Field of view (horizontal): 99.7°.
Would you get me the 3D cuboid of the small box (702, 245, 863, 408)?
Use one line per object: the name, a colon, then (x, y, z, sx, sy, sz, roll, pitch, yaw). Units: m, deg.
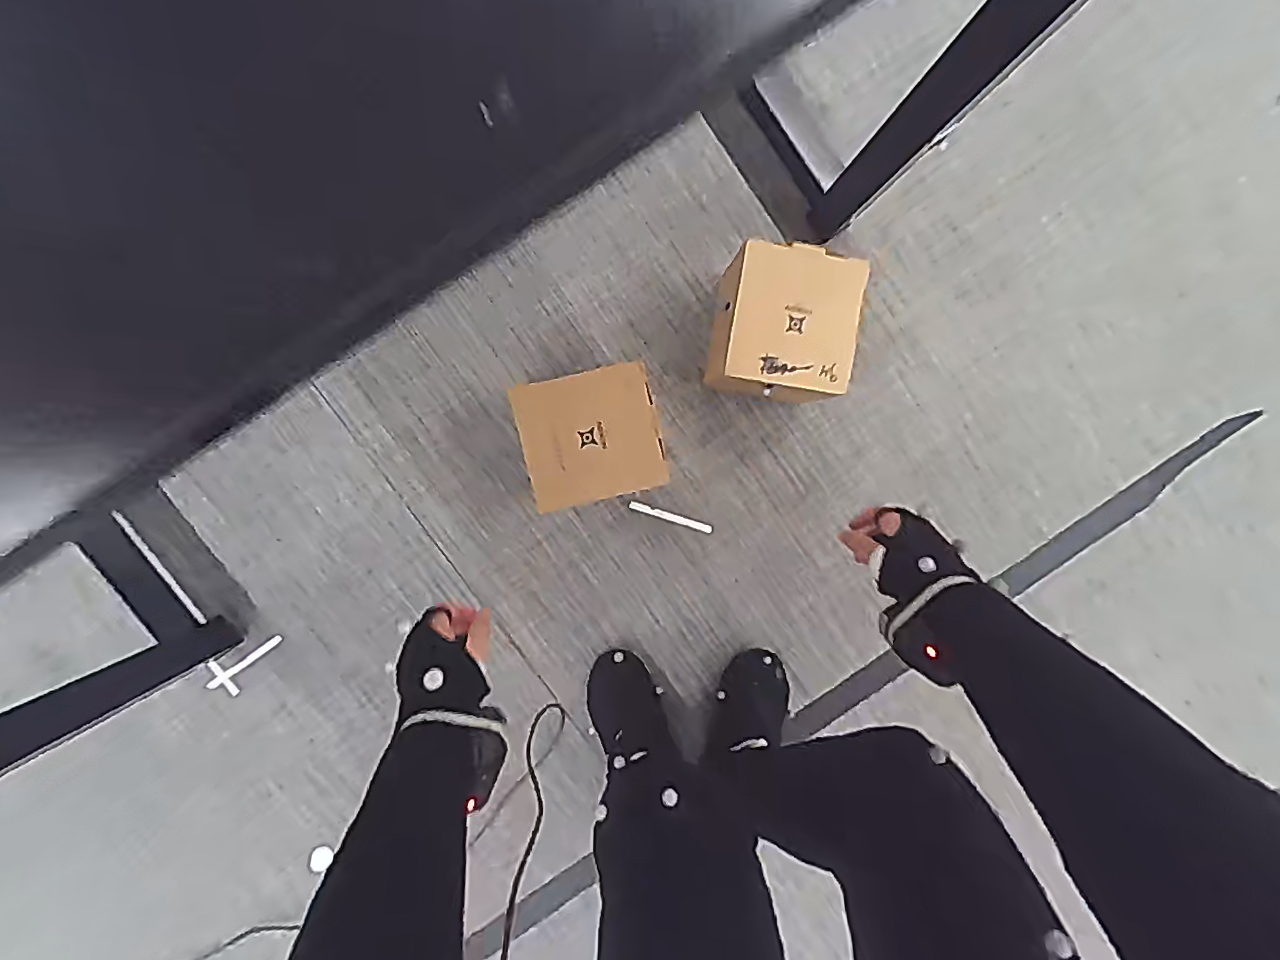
small box: (0.192, -0.207, 0.776, 0.168, 0.176, 0.179, 9, 93, -3)

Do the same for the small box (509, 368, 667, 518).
small box: (-0.070, -0.053, 0.774, 0.179, 0.176, 0.168, -14, 93, -1)
